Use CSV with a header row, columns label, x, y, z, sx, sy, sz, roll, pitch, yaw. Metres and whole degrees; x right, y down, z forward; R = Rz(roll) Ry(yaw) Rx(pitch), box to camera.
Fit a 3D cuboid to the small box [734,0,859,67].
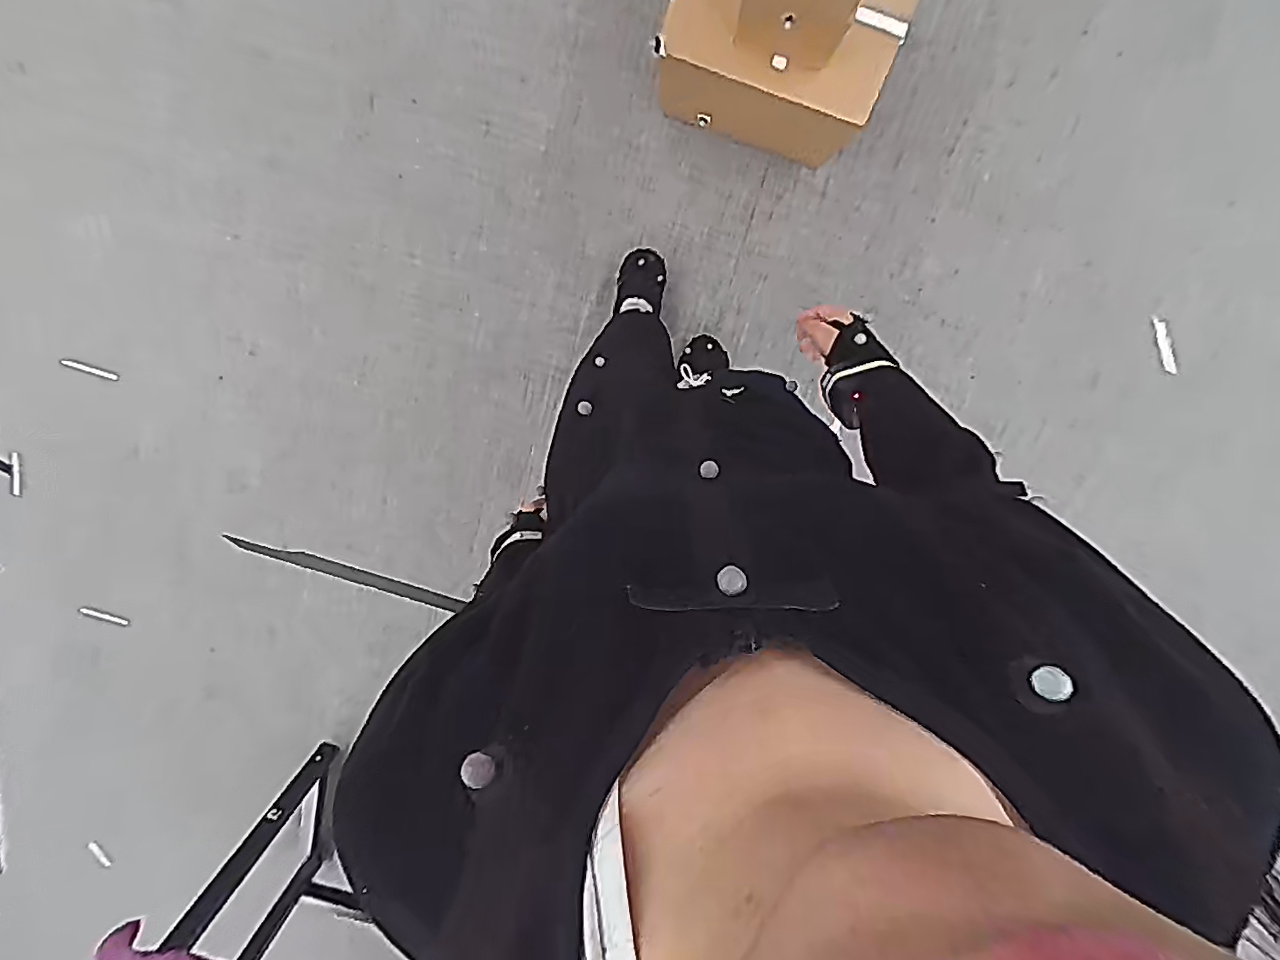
label,x,y,z,sx,sy,sz,roll,pitch,yaw
small box,0.261,-0.805,0.863,0.179,0.176,0.168,16,108,-3
